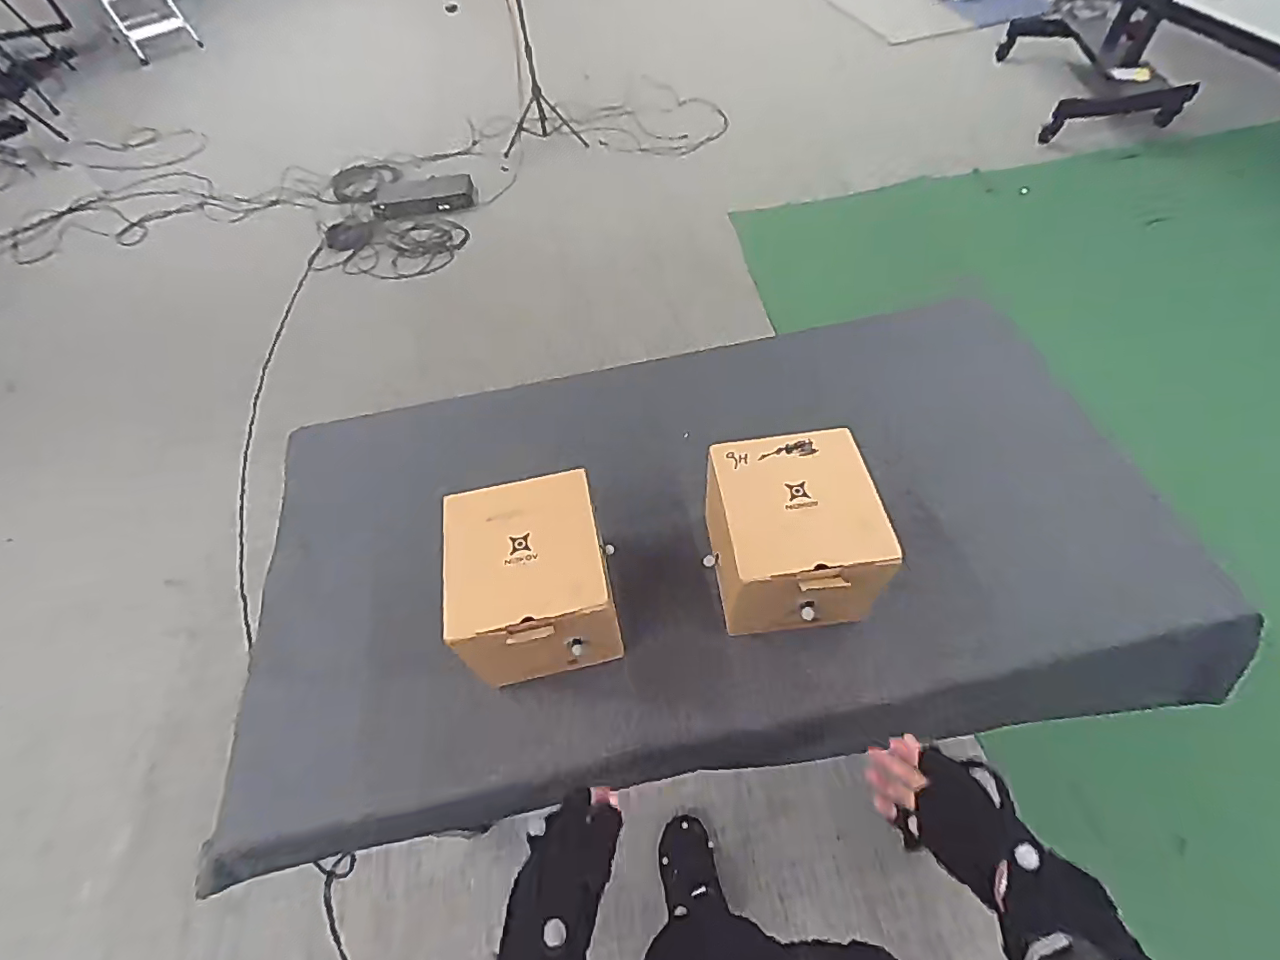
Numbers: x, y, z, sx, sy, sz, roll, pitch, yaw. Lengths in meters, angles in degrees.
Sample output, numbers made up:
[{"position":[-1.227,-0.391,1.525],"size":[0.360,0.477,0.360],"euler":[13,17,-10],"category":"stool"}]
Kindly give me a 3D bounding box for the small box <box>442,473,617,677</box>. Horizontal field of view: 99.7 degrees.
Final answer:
[{"position":[-0.127,0.122,0.651],"size":[0.168,0.176,0.179],"euler":[-12,54,-5],"category":"small box"}]
